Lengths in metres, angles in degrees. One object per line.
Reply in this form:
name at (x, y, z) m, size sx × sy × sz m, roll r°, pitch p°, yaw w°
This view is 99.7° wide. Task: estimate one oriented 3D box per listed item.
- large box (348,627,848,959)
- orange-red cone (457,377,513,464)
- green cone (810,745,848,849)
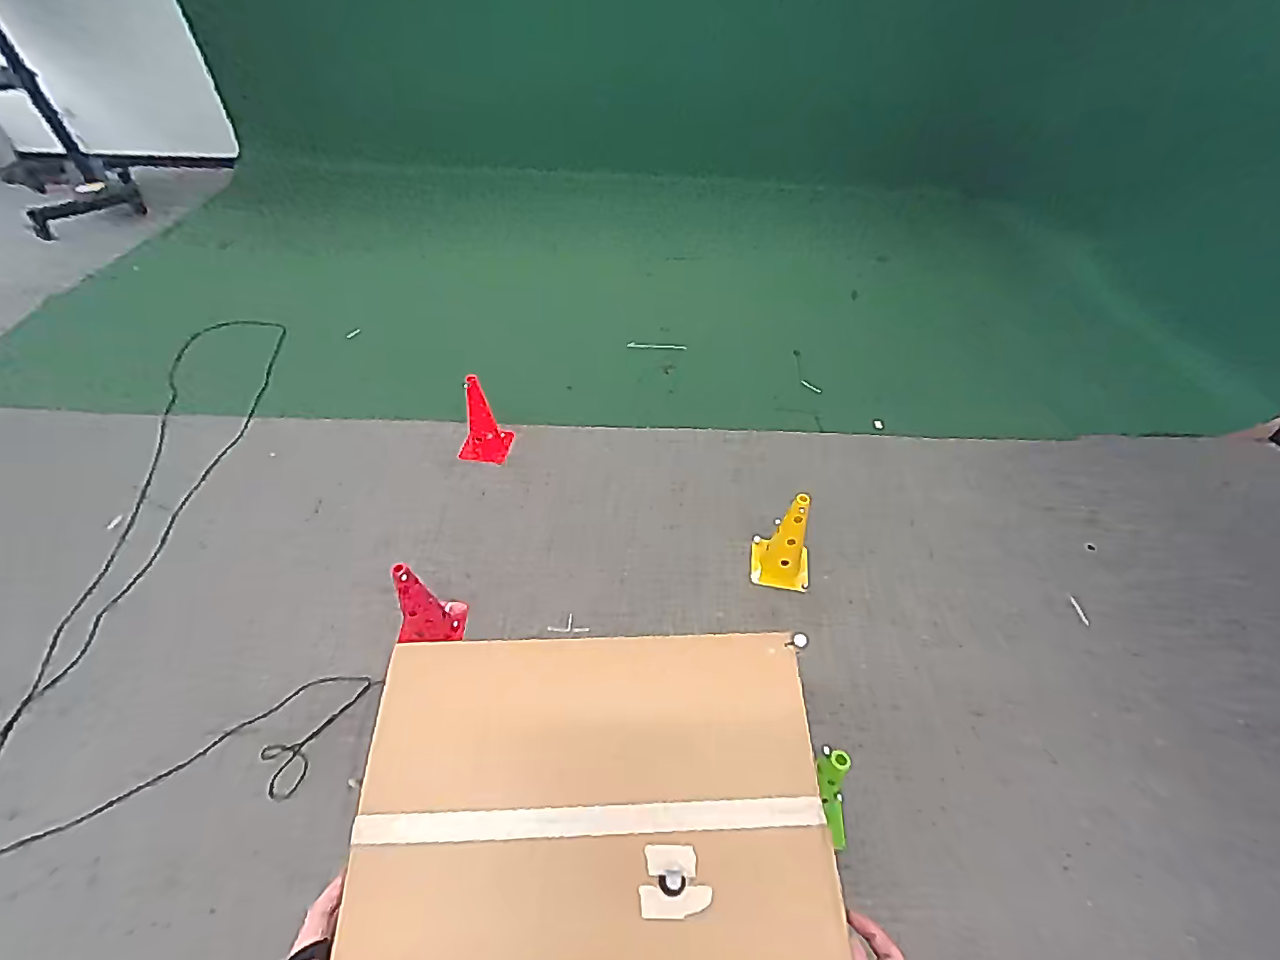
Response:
large box at (-0.042, 0.371, 0.610) m, size 0.408 × 0.320 × 0.320 m, roll -1°, pitch 59°, yaw -2°
orange-red cone at (-0.661, -0.261, 2.195) m, size 0.199 × 0.360 × 0.198 m, roll 6°, pitch 46°, yaw 5°
green cone at (0.433, 0.731, 1.307) m, size 0.200 × 0.368 × 0.202 m, roll 6°, pitch 45°, yaw 3°
